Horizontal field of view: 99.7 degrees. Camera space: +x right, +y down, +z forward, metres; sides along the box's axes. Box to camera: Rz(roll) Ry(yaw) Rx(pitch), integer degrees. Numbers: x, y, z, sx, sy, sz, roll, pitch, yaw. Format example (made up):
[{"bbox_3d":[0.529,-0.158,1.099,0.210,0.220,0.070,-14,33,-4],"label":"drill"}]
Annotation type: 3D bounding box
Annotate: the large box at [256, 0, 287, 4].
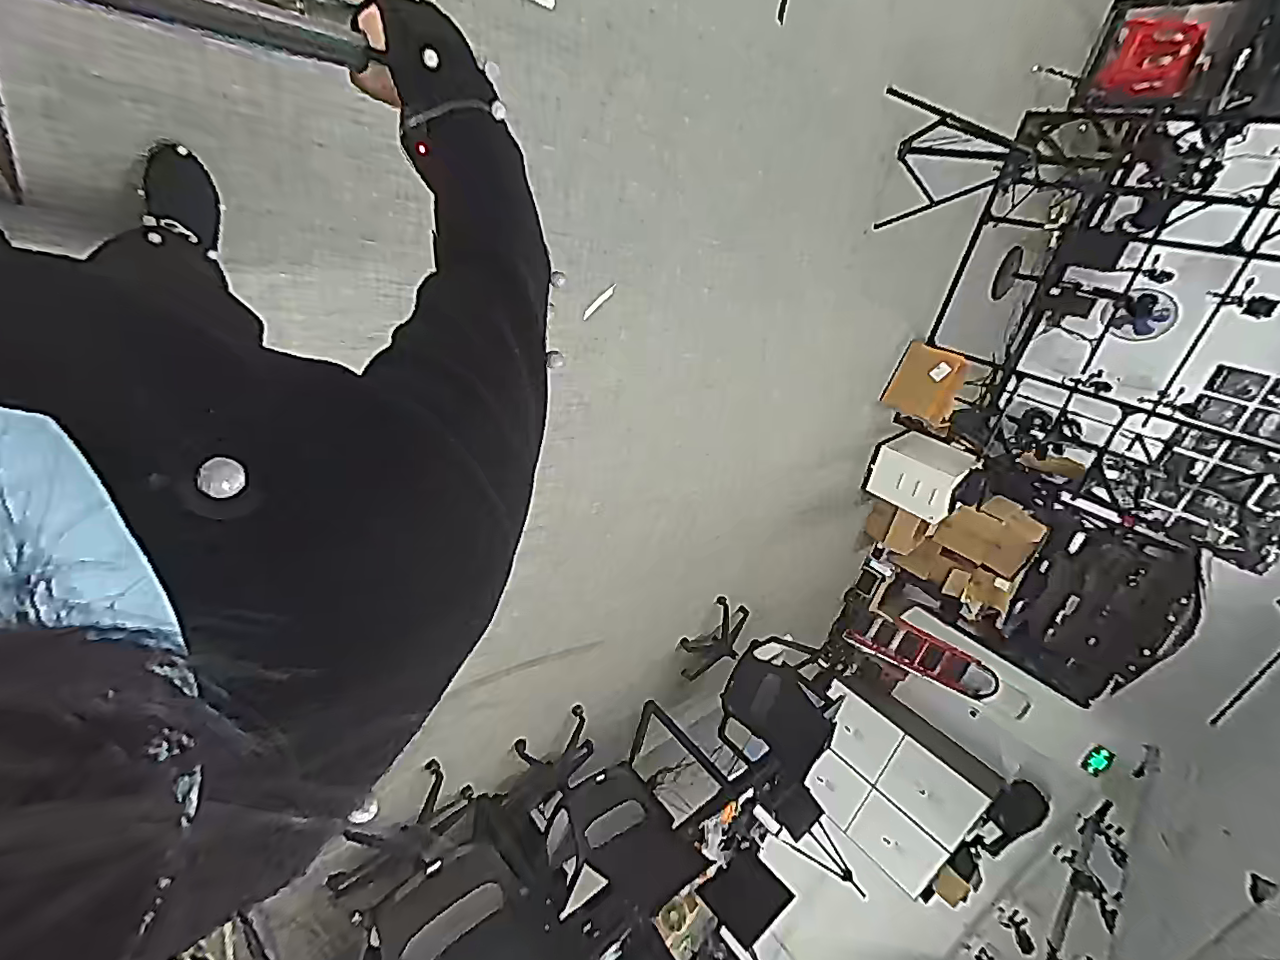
[{"bbox_3d":[-0.627,-0.804,0.610,0.408,0.320,0.320,-17,131,-41],"label":"large box"}]
